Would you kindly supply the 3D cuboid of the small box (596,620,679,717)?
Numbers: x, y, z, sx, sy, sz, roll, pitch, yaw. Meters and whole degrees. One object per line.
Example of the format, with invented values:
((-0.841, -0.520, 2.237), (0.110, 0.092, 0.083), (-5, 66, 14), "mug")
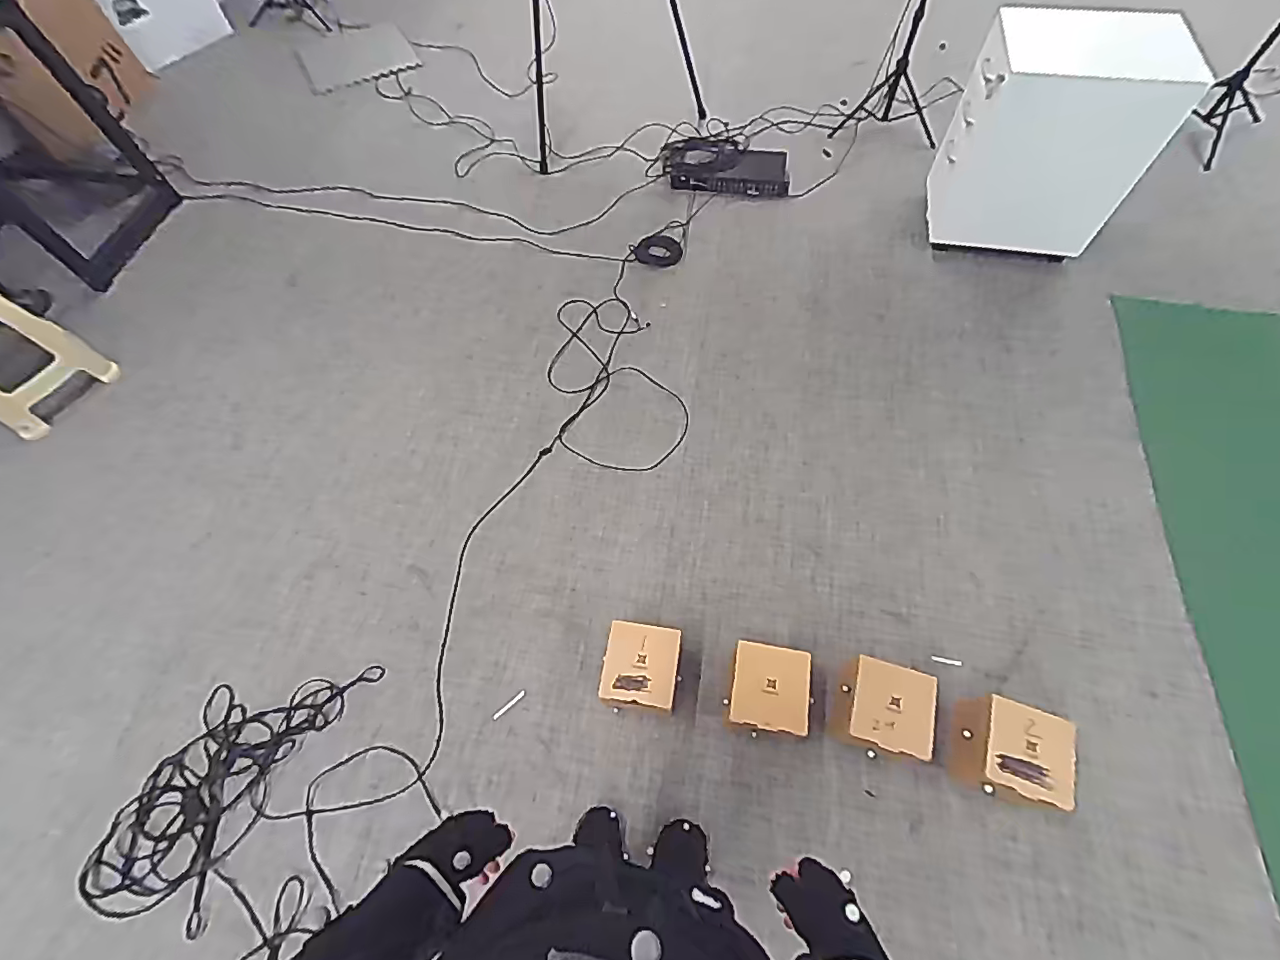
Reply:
((0.002, 0.454, 1.287), (0.168, 0.176, 0.179), (8, 61, 7), "small box")

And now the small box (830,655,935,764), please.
((0.541, 0.522, 1.221), (0.168, 0.176, 0.179), (15, 64, 12), "small box")

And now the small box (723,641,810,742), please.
((0.288, 0.493, 1.252), (0.168, 0.176, 0.179), (8, 62, 8), "small box")
